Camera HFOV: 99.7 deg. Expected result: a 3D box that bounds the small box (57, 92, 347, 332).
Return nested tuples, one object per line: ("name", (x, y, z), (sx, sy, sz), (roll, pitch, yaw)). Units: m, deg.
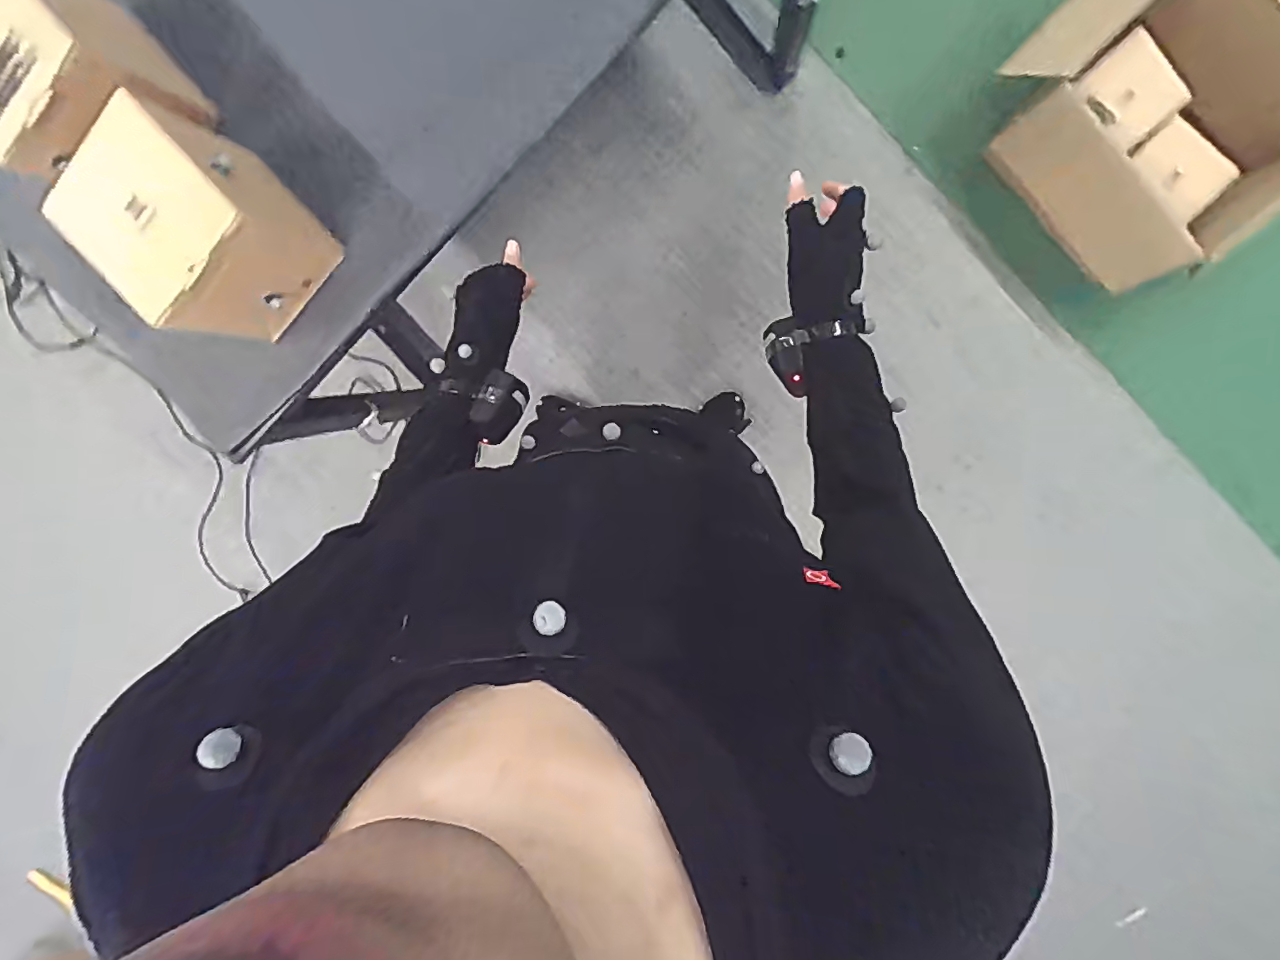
("small box", (-0.510, -0.300, 0.654), (0.168, 0.176, 0.179), (-42, 92, 12))
